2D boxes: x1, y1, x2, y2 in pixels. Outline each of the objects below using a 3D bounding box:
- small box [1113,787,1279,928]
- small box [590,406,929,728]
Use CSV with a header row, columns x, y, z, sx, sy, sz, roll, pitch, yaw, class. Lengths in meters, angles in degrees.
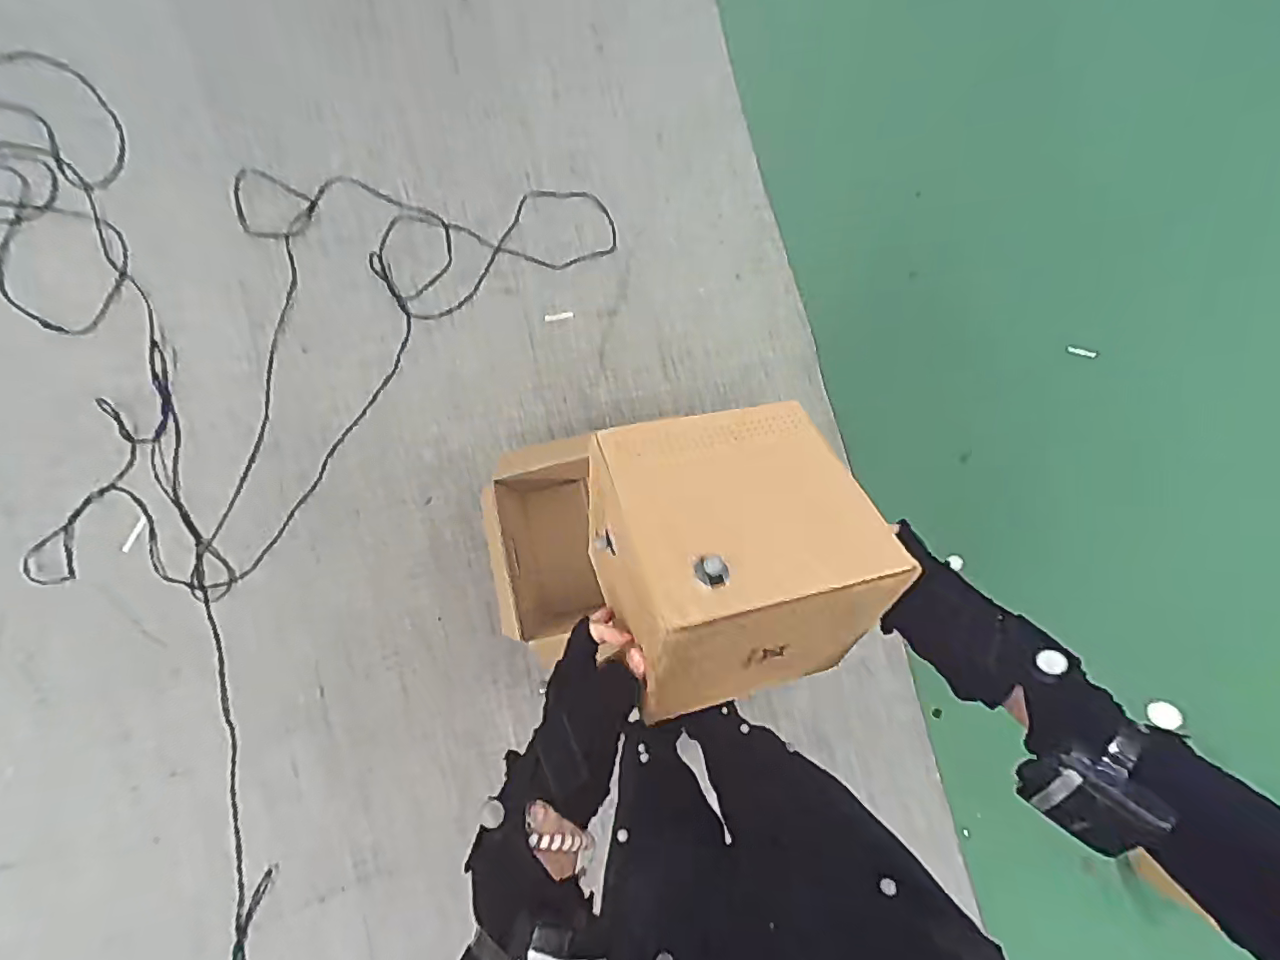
x,y,z,sx,sy,sz,roll,pitch,yaw,class
1.220,0.825,1.199,0.168,0.176,0.179,-16,83,-5,small box
0.067,0.061,0.418,0.179,0.168,0.176,-11,53,-14,small box
